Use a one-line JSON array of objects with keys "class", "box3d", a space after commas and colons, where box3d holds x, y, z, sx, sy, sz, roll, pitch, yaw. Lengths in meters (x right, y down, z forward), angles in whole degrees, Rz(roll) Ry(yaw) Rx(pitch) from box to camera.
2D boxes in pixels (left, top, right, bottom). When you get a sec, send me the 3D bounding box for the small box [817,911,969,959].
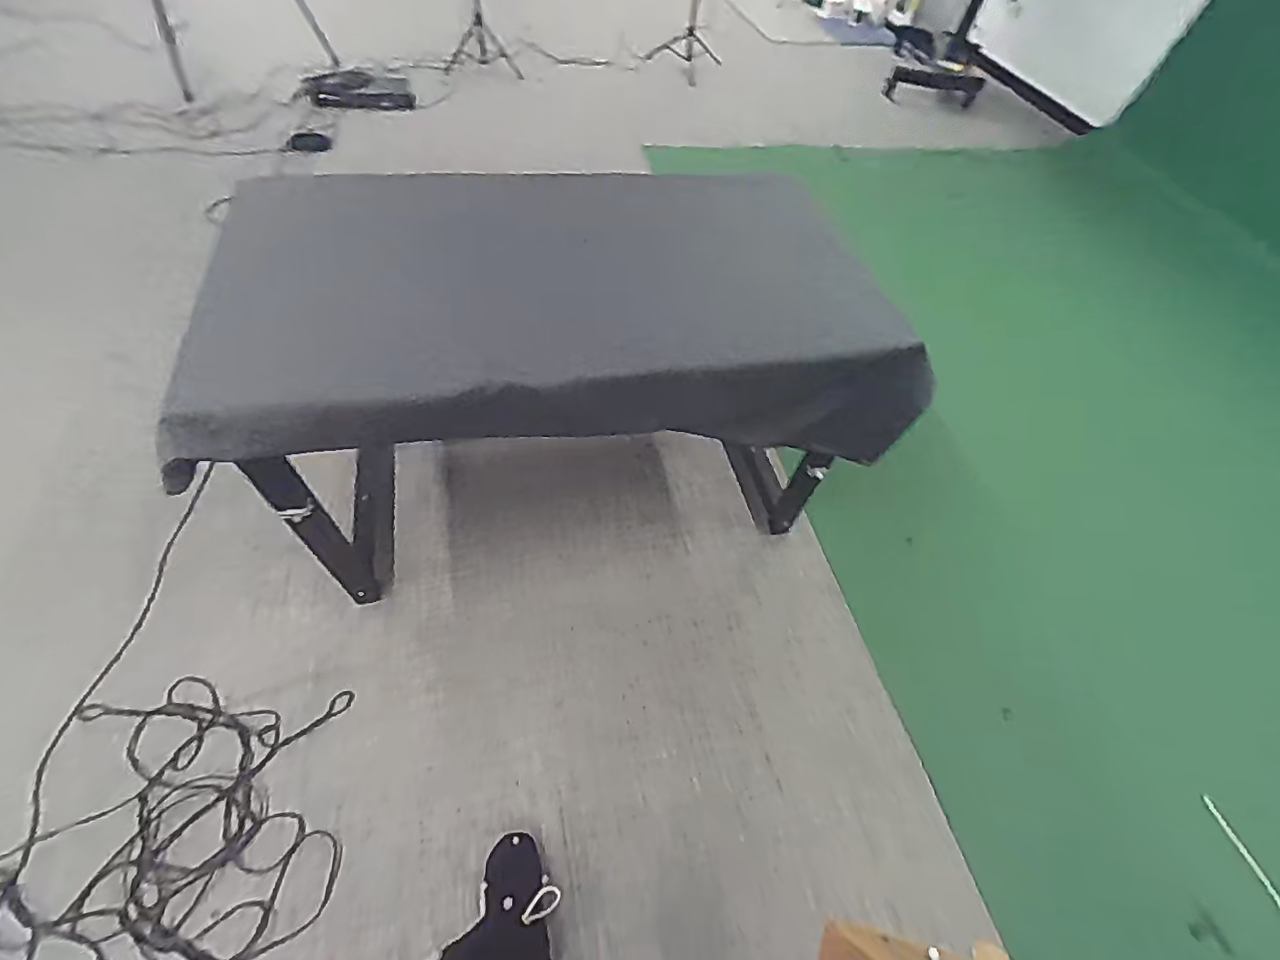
[{"class": "small box", "box3d": [0.276, 0.559, 0.511, 0.168, 0.176, 0.179, 20, 67, -9]}]
